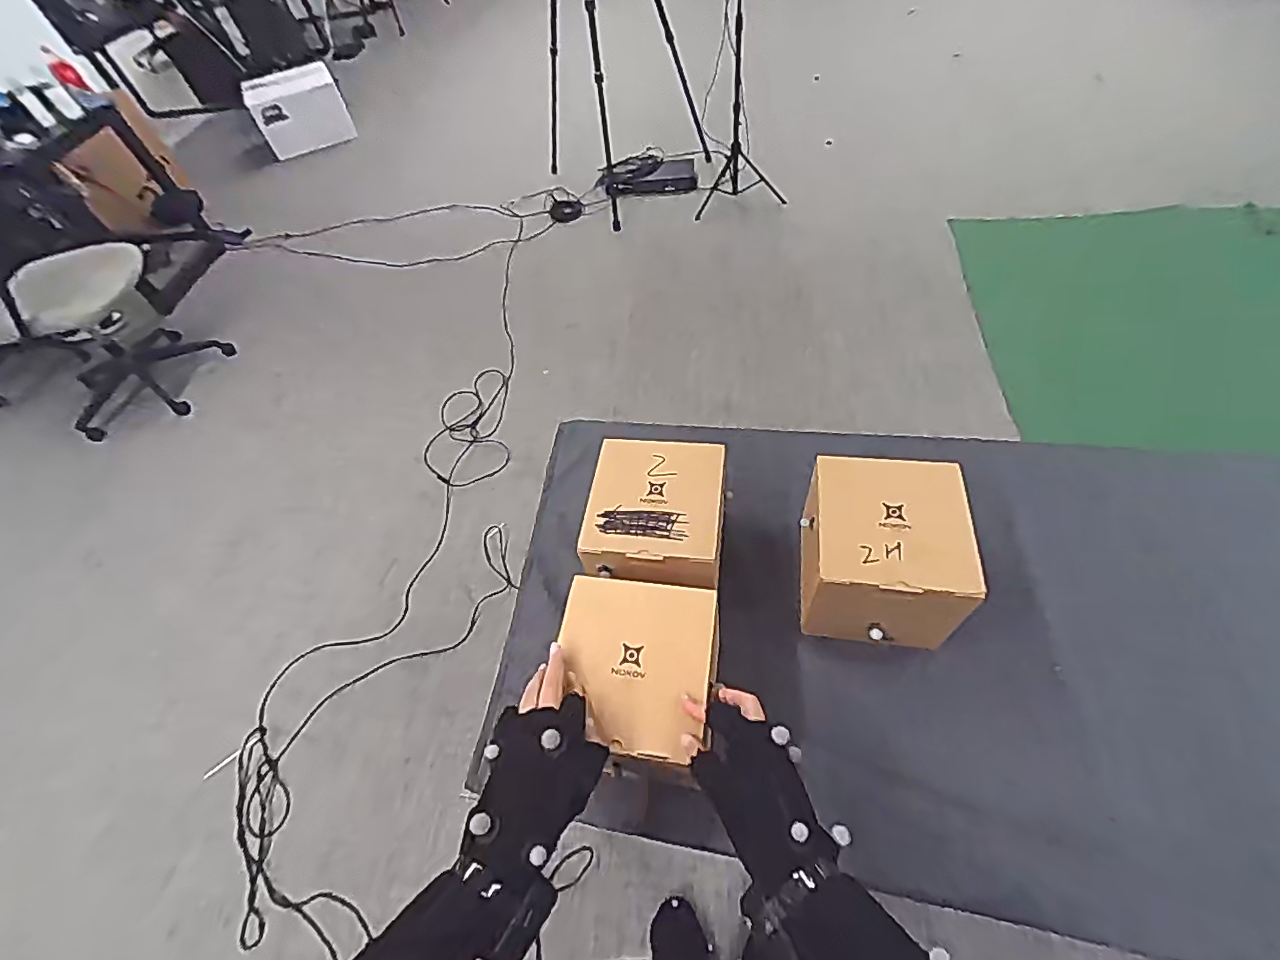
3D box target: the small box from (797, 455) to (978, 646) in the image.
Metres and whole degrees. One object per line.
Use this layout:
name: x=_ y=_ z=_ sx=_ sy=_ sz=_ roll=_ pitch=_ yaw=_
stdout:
small box: x=0.295 y=0.091 z=0.687 sx=0.168 sy=0.176 sz=0.179 roll=4 pitch=56 yaw=11

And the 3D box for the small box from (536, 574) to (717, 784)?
small box: x=-0.002 y=0.232 z=0.626 sx=0.168 sy=0.176 sz=0.179 roll=4 pitch=56 yaw=10
